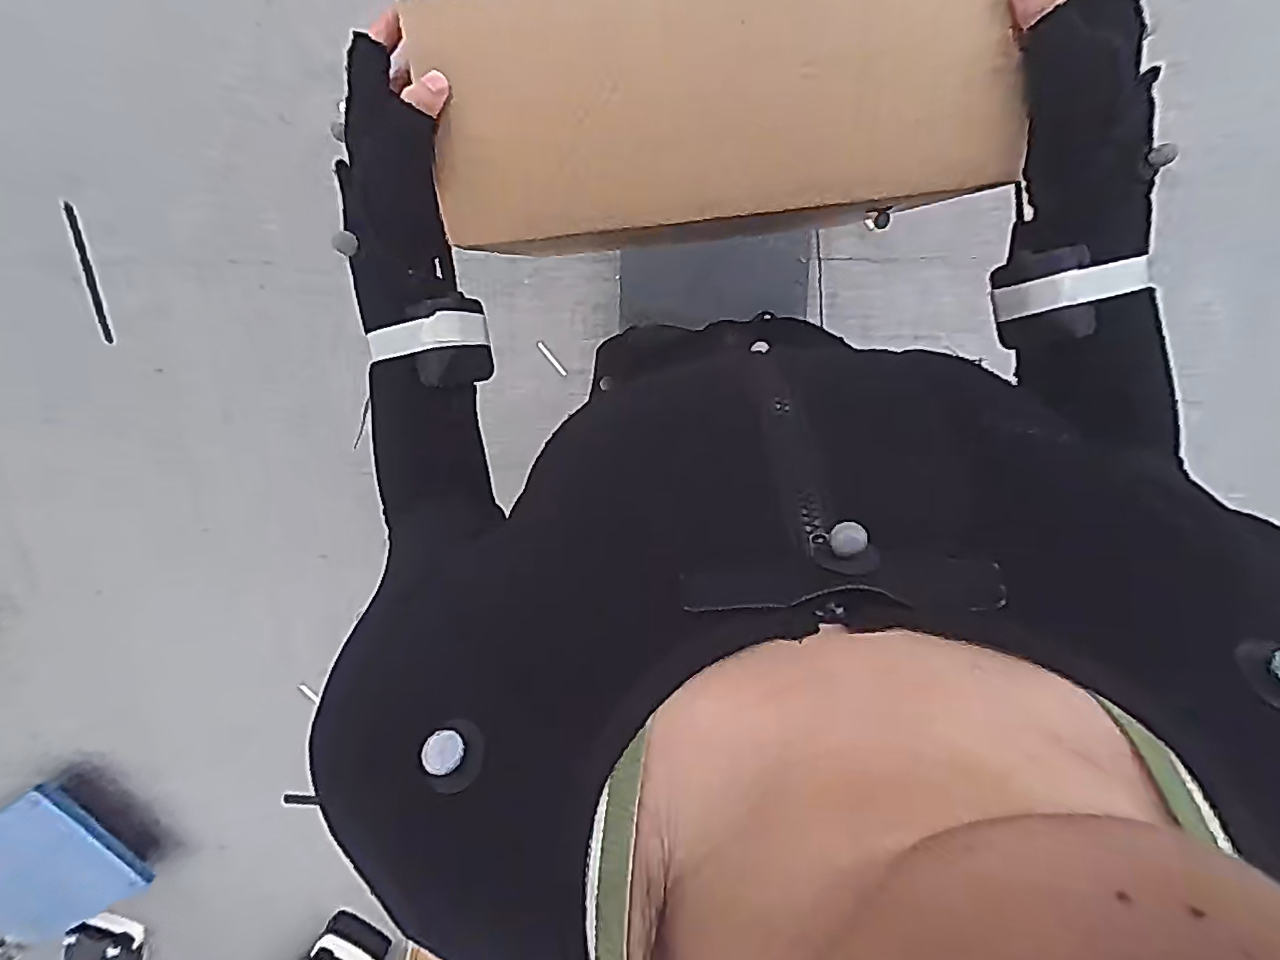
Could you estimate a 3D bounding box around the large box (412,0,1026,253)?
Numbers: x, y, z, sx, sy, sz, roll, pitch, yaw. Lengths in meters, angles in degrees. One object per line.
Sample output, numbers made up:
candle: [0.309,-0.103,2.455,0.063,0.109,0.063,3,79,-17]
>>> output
large box: [0.050,-0.388,0.477,0.408,0.320,0.320,-5,111,2]
